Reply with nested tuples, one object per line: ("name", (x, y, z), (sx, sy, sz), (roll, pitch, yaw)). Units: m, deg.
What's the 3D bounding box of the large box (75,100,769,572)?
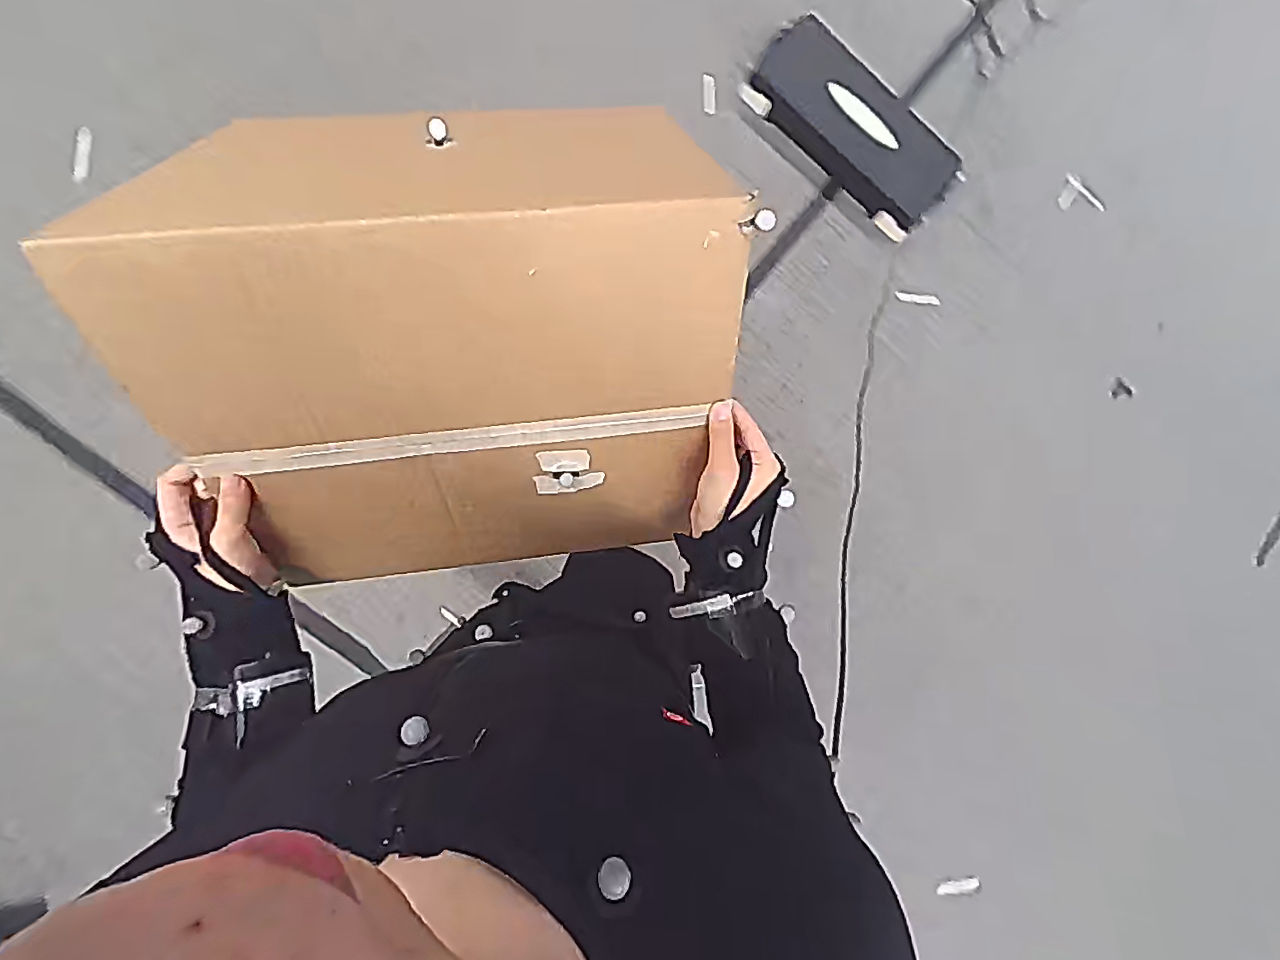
("large box", (-0.137, -0.148, 0.520), (0.408, 0.320, 0.320), (-6, 46, -6))
